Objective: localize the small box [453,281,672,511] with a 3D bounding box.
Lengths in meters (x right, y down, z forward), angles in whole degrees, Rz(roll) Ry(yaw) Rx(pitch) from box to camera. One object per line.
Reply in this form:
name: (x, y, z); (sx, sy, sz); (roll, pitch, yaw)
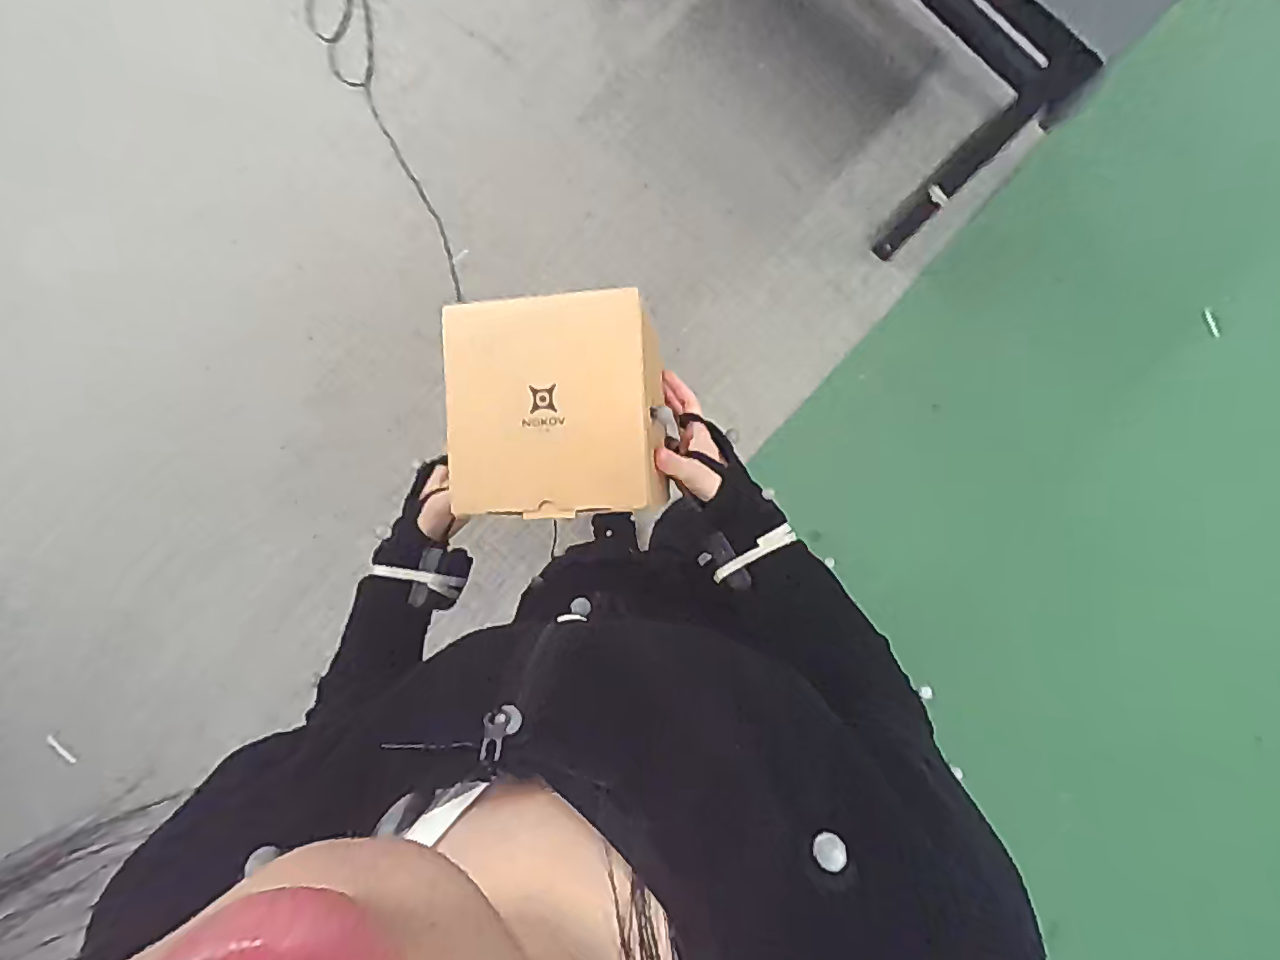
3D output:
small box: (-0.057, -0.064, 0.499); (0.168, 0.176, 0.179); (-2, 91, 6)
